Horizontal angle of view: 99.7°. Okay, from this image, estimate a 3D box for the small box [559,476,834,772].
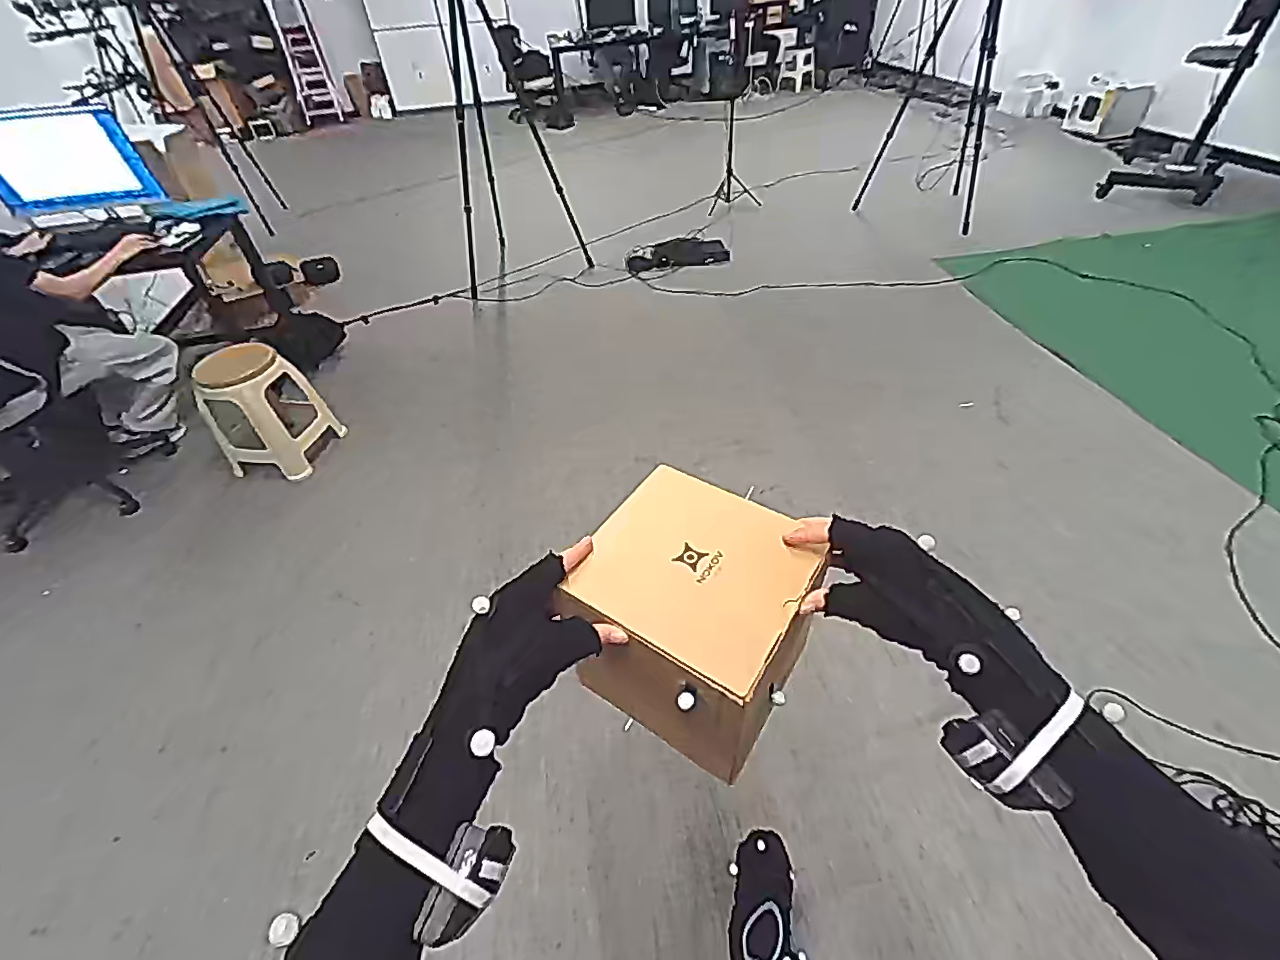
[{"bbox_3d":[0.050,0.131,0.503,0.179,0.176,0.168,26,50,26],"label":"small box"}]
